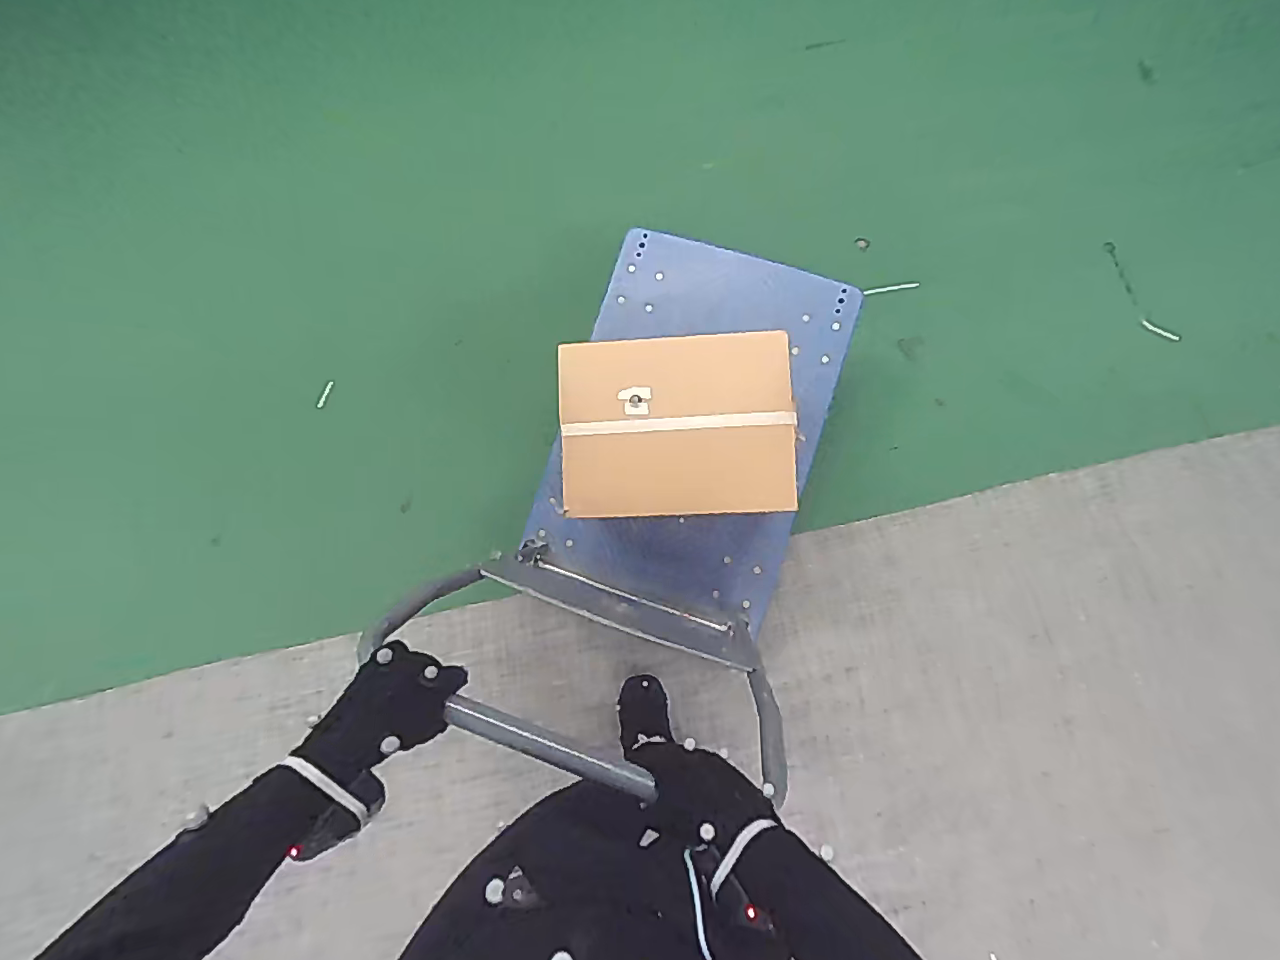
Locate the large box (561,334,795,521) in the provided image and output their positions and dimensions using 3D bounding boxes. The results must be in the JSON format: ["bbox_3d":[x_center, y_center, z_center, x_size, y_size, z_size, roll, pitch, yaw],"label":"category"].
[{"bbox_3d":[0.078,-0.085,1.101,0.408,0.320,0.320,-3,86,6],"label":"large box"}]
